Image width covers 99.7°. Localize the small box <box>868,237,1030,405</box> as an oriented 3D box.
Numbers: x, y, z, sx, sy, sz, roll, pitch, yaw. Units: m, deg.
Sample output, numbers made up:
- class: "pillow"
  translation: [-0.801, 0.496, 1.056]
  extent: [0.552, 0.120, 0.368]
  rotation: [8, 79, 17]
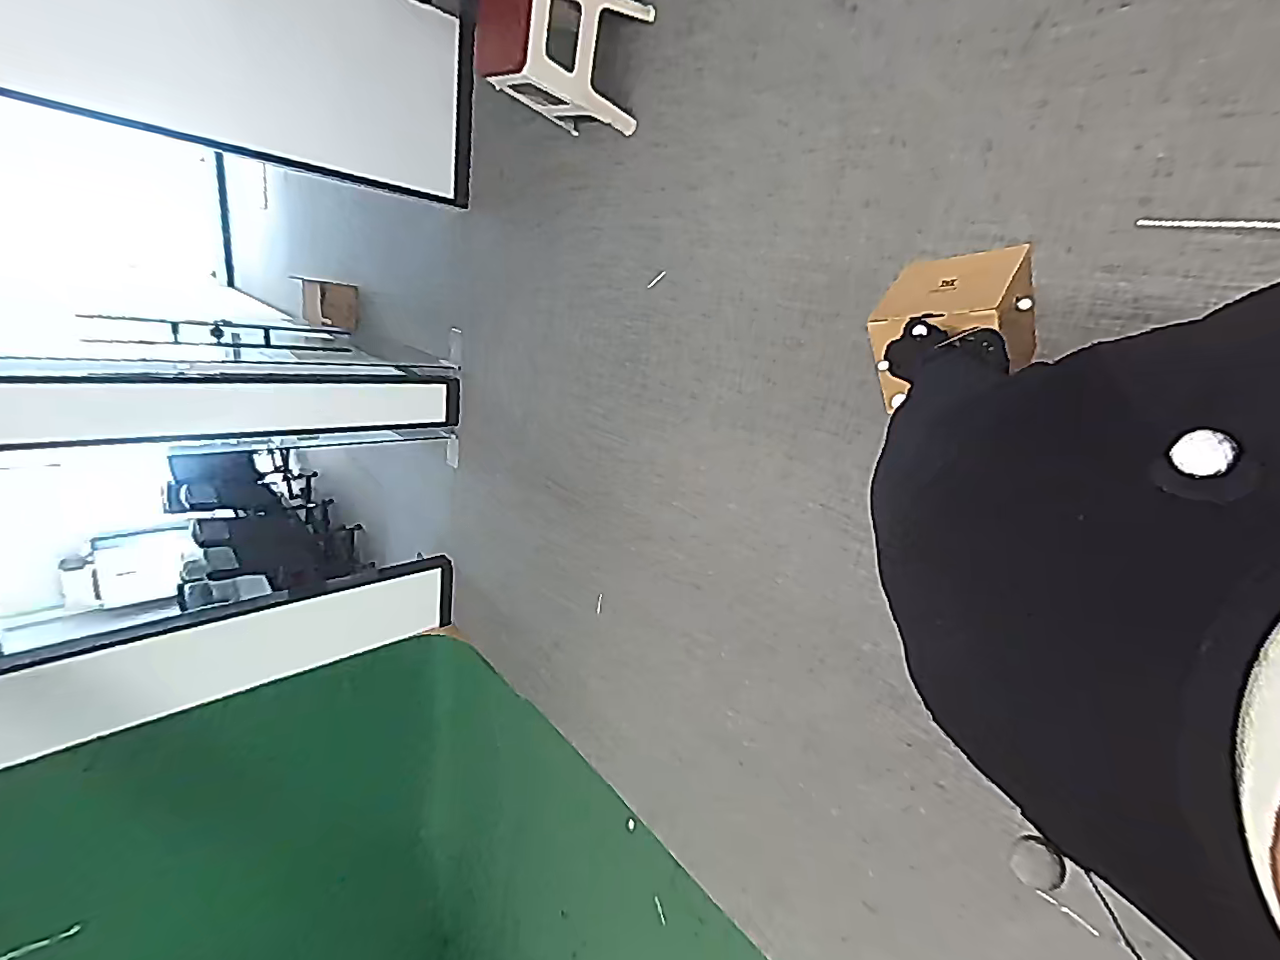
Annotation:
- class: "small box"
  translation: [0.471, -0.233, 0.815]
  extent: [0.168, 0.179, 0.176]
  rotation: [8, 139, 45]
